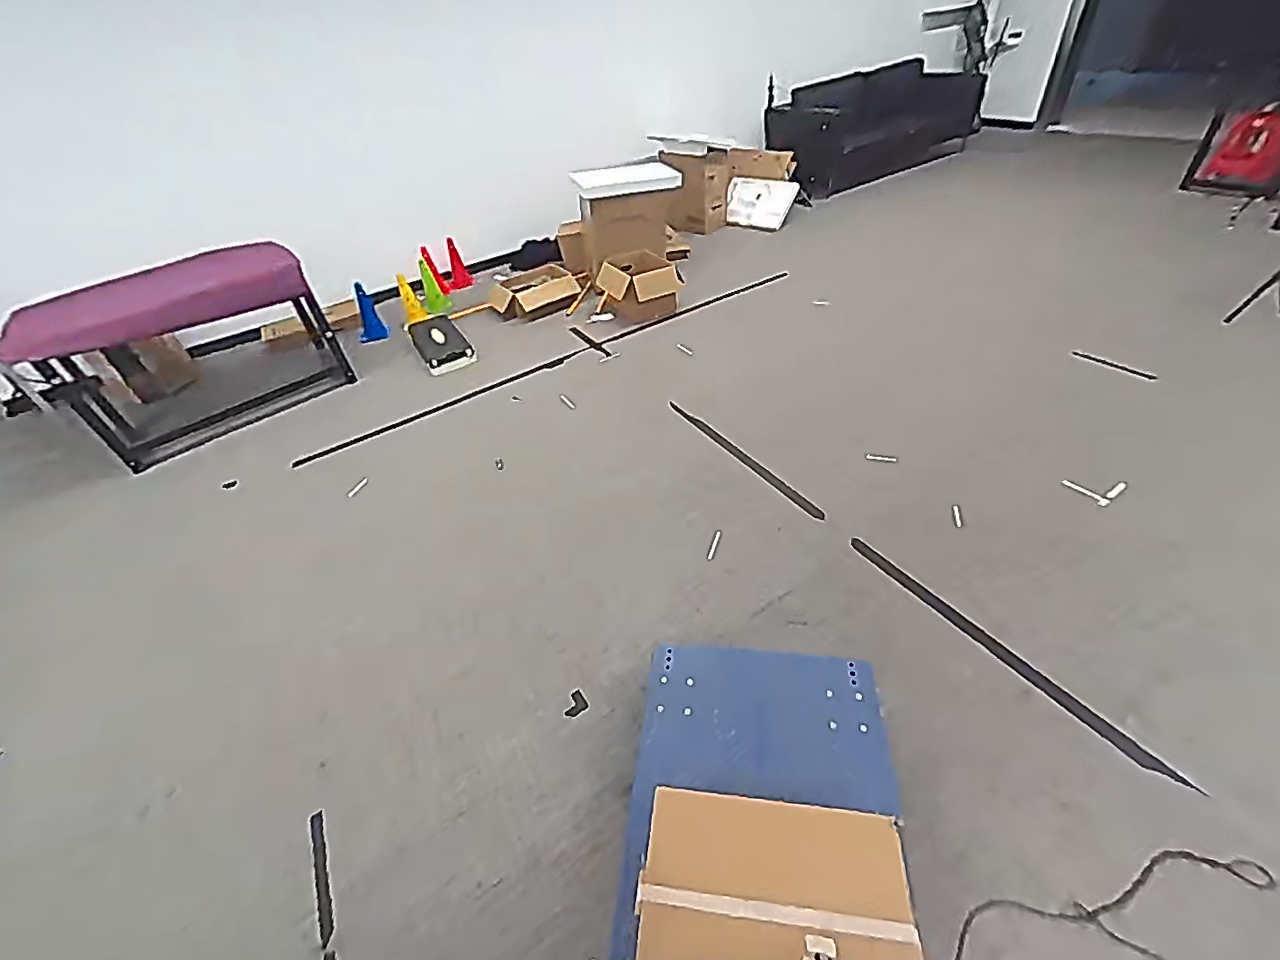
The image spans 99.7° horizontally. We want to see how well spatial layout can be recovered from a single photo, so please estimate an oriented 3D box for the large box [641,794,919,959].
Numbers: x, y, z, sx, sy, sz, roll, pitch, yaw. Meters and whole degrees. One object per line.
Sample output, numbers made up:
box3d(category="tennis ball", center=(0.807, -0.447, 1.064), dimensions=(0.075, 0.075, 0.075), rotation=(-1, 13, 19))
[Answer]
box3d(category="large box", center=(0.217, 0.775, 0.916), dimensions=(0.408, 0.320, 0.320), rotation=(2, 42, 9))
